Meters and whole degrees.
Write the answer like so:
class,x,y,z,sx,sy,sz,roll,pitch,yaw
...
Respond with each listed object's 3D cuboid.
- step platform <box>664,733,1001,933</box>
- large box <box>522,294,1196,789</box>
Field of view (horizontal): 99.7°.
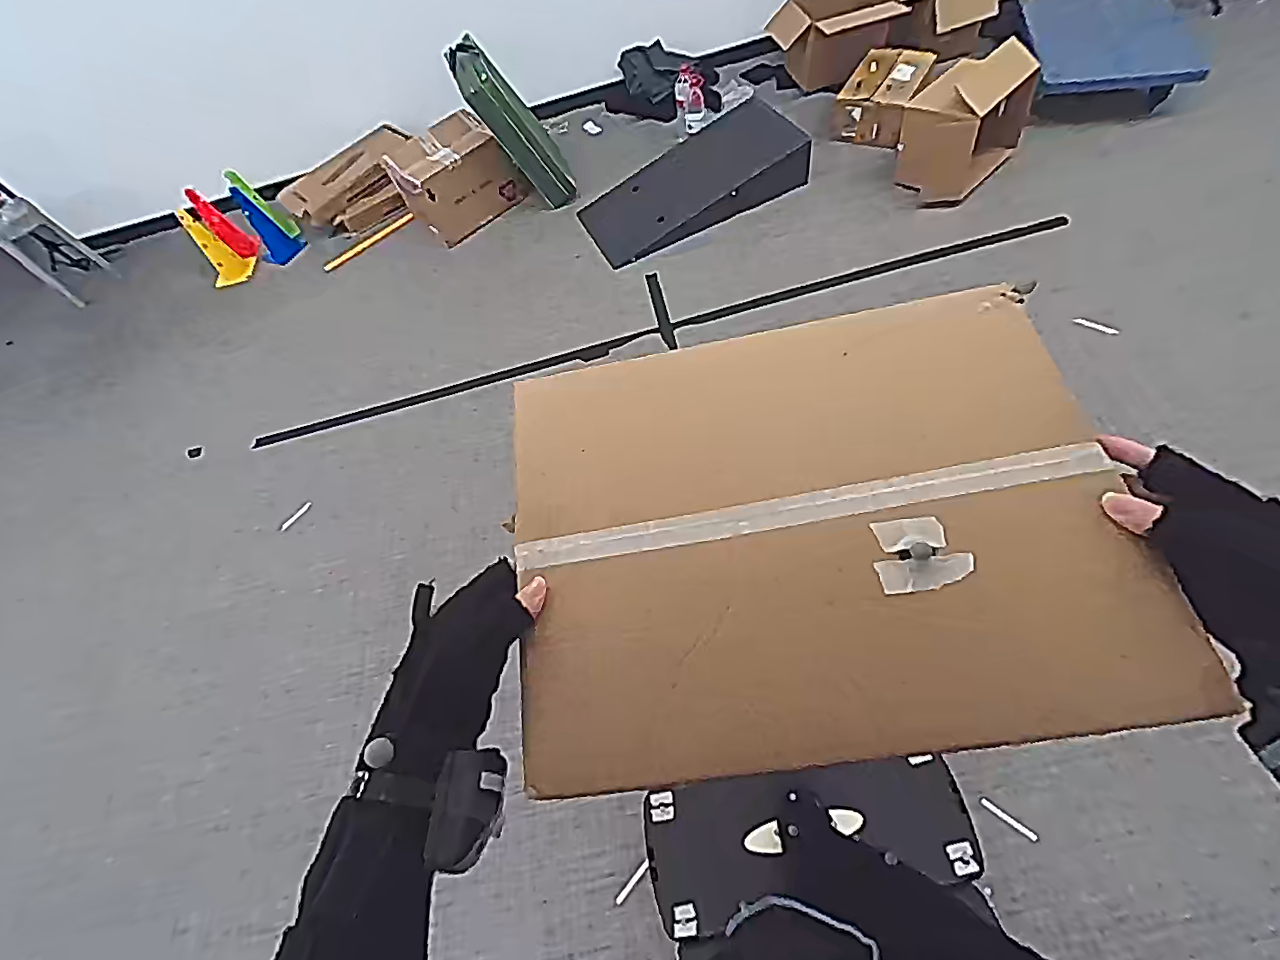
class,x,y,z,sx,sy,sz,roll,pitch,yaw
step platform,0.397,0.760,1.207,0.684,0.204,0.286,-15,59,2
large box,0.133,0.083,0.526,0.408,0.320,0.320,-11,66,6
